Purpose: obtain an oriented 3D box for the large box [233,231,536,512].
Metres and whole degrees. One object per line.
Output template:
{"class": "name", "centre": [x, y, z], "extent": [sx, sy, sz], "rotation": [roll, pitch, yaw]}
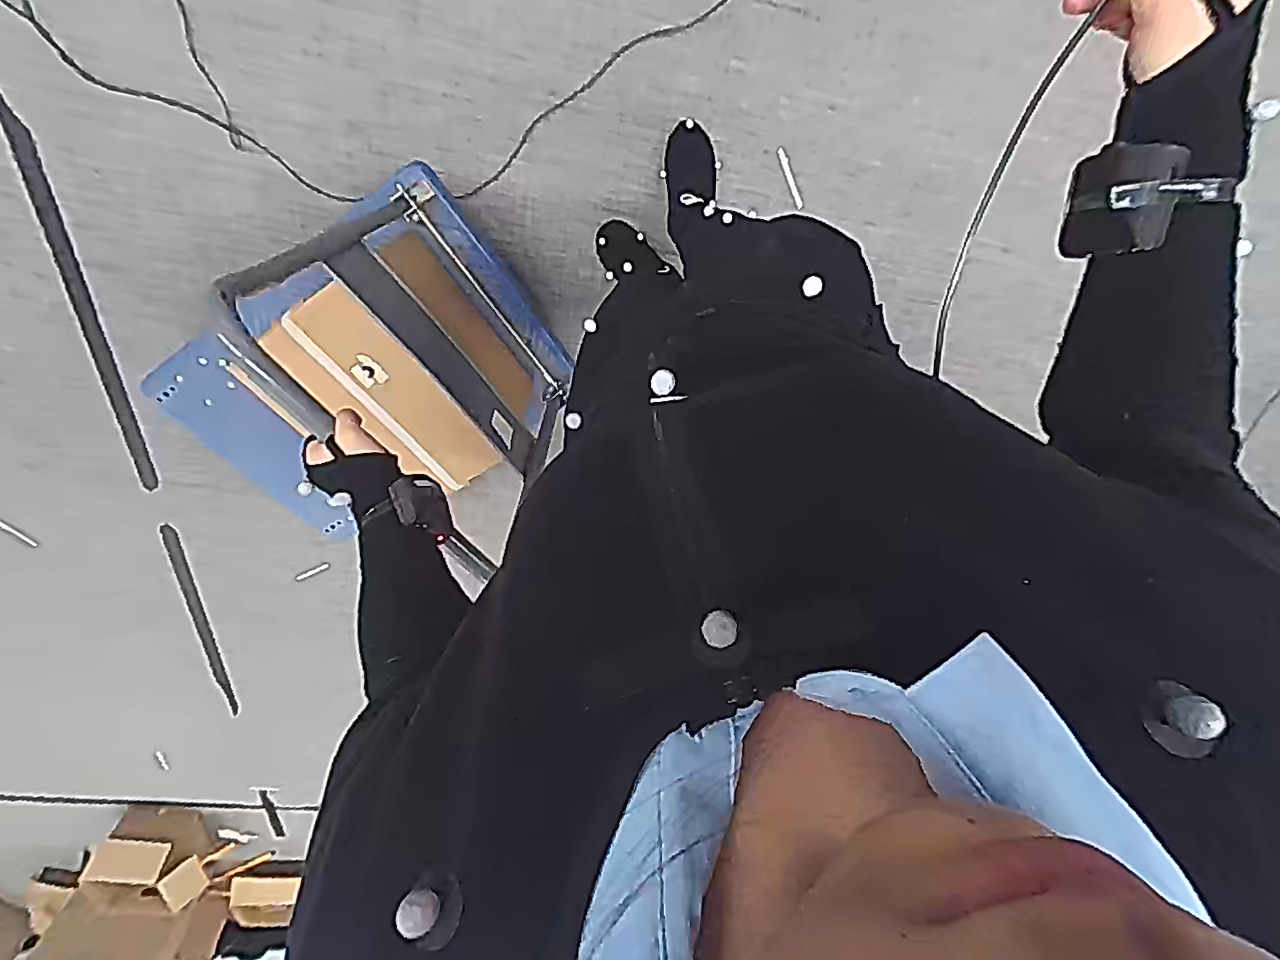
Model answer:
{"class": "large box", "centre": [-0.469, -0.218, 1.101], "extent": [0.320, 0.320, 0.408], "rotation": [-28, 121, 15]}
